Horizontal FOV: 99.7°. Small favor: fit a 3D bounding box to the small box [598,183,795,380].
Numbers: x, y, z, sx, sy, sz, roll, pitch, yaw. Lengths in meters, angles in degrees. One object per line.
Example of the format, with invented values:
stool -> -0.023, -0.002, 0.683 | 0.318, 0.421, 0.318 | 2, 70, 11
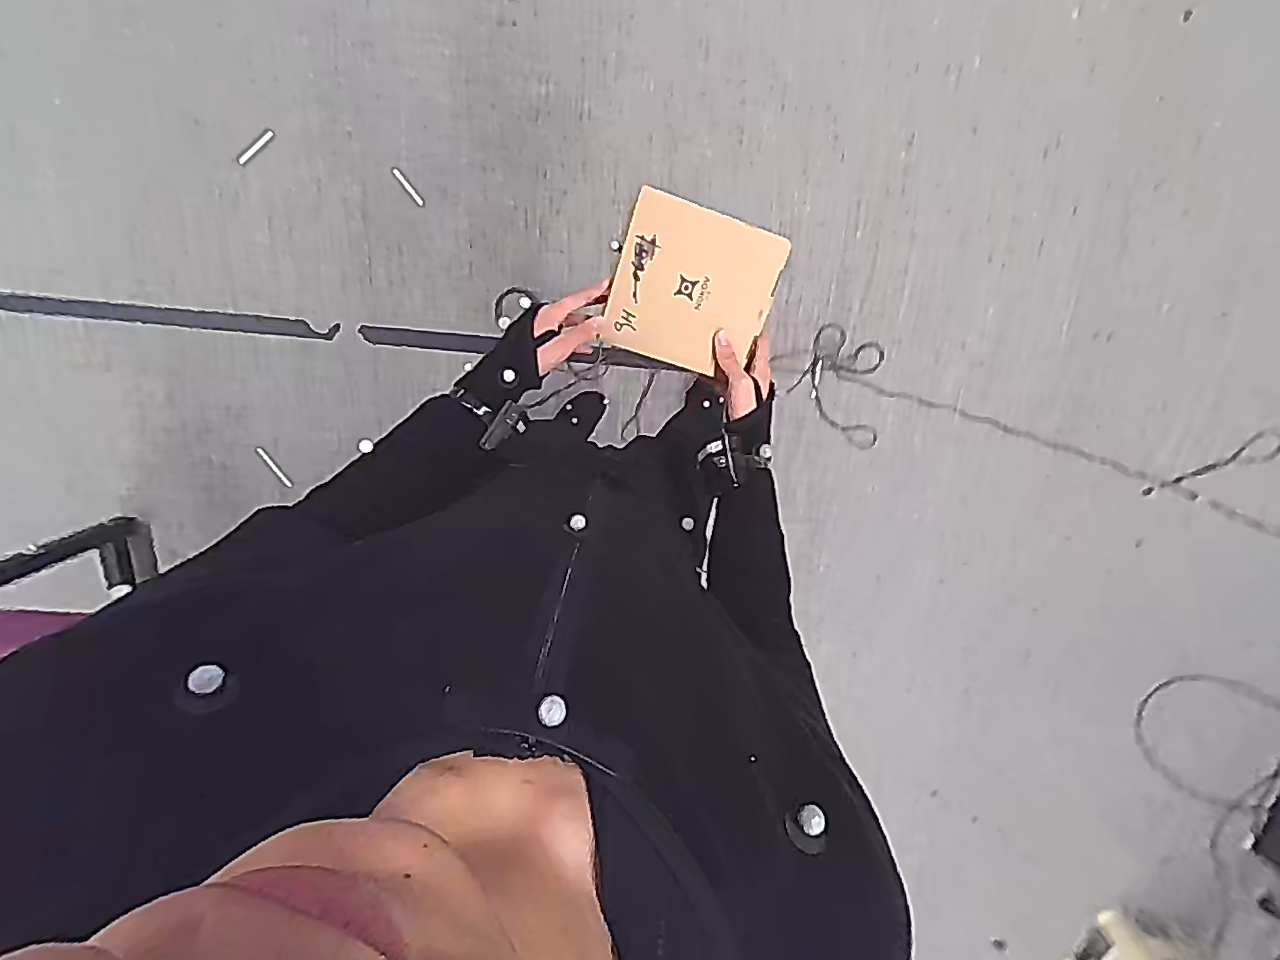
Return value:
small box -> 0.054, -0.241, 0.663 | 0.179, 0.176, 0.168 | 15, 110, -11
